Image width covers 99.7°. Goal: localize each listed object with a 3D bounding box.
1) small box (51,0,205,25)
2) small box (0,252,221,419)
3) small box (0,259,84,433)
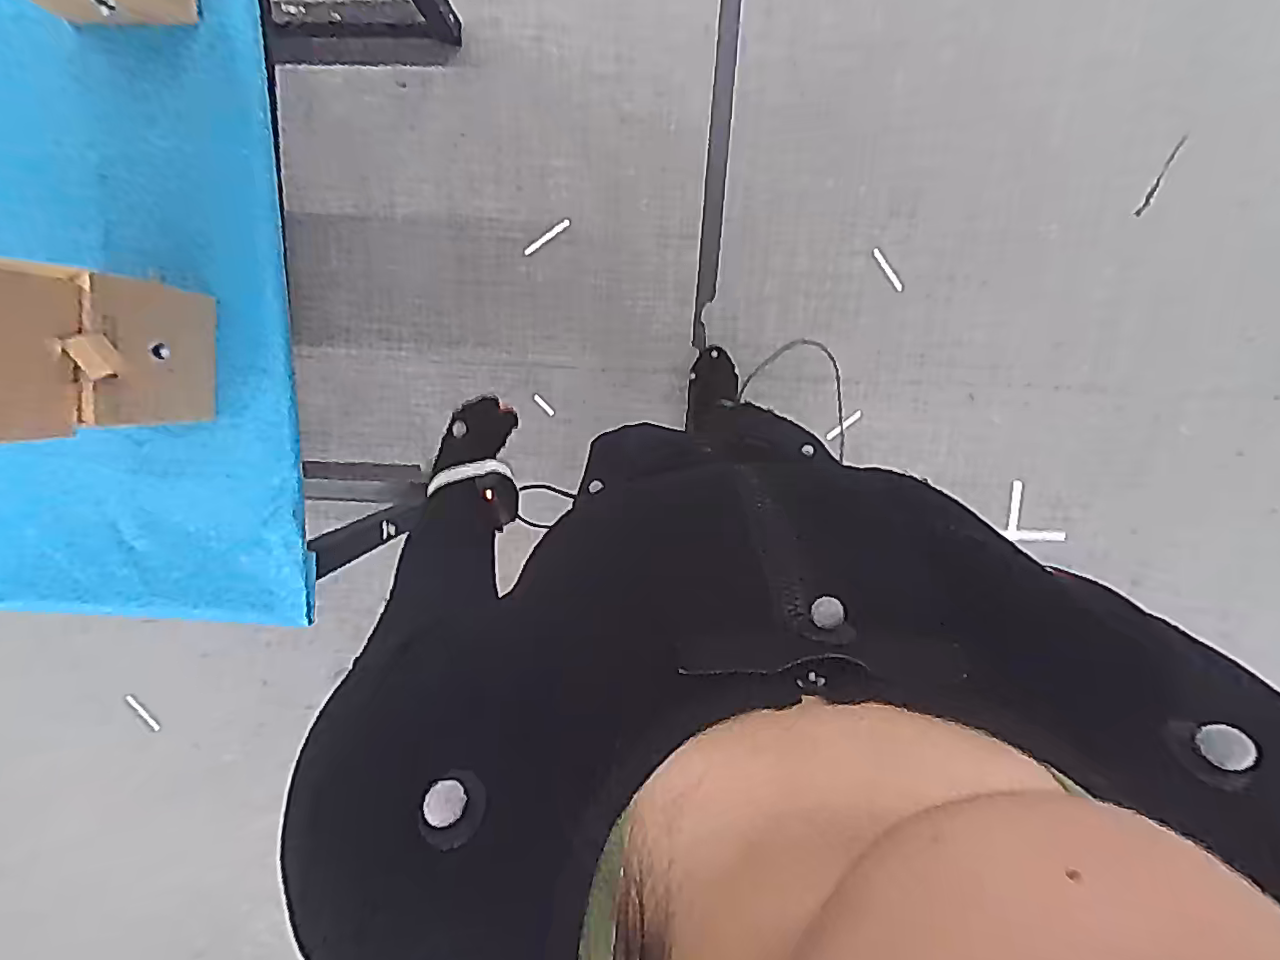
[{"bbox_3d":[-0.620,-0.629,0.571,0.179,0.176,0.168,3,100,3],"label":"small box"},{"bbox_3d":[-0.655,-0.167,0.651,0.179,0.176,0.168,8,99,1],"label":"small box"},{"bbox_3d":[-0.674,-0.133,0.490,0.179,0.176,0.168,11,100,-1],"label":"small box"}]
